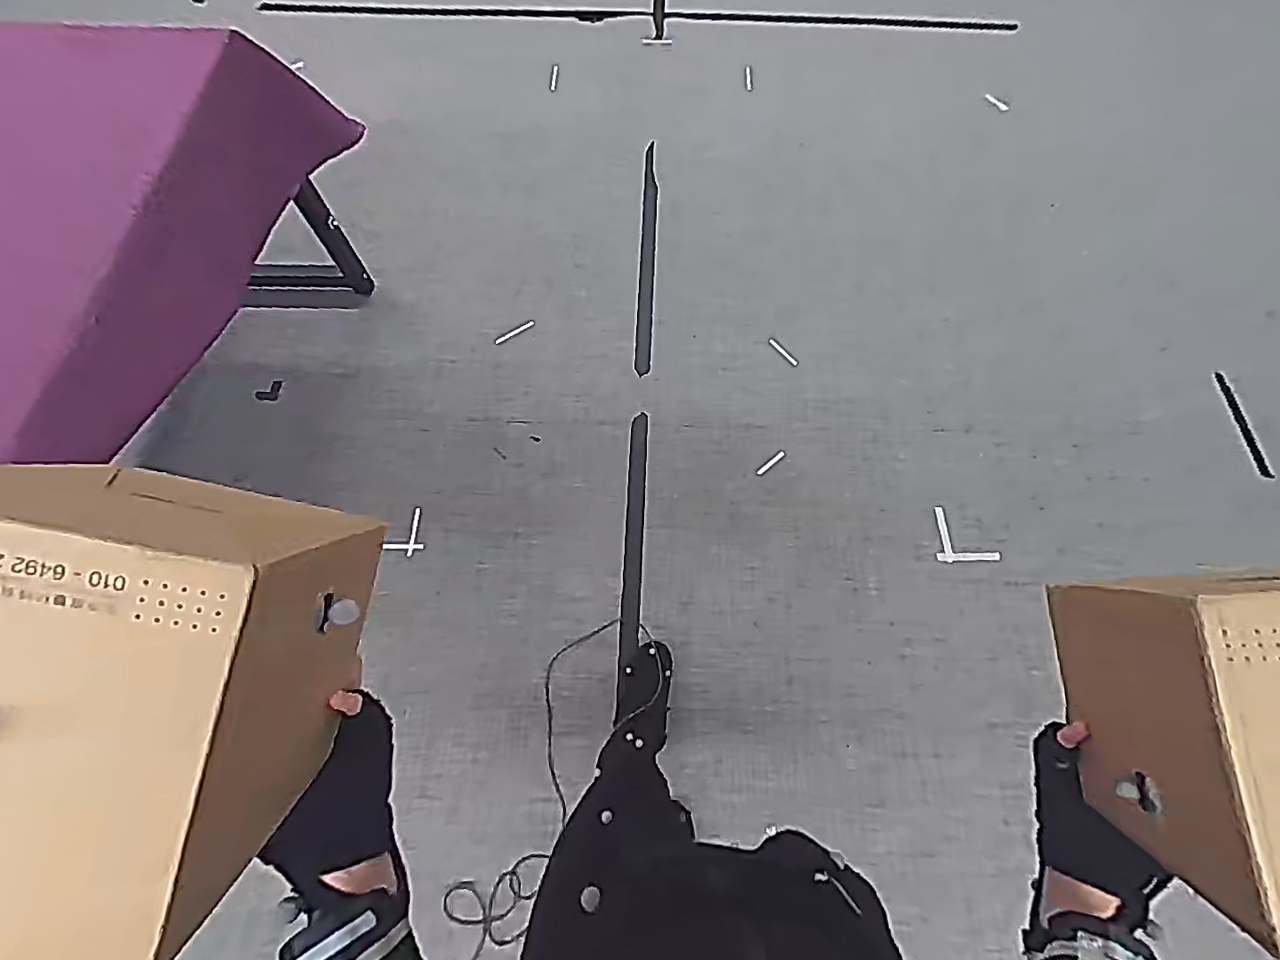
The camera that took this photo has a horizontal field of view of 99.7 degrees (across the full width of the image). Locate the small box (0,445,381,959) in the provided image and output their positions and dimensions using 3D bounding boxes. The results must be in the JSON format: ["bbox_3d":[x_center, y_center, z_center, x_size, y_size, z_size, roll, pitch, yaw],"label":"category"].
[{"bbox_3d":[-0.252,0.079,0.266,0.168,0.179,0.176,14,88,-9],"label":"small box"}]

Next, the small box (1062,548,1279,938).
[{"bbox_3d":[0.380,0.127,0.309,0.168,0.179,0.176,-6,81,16],"label":"small box"}]
